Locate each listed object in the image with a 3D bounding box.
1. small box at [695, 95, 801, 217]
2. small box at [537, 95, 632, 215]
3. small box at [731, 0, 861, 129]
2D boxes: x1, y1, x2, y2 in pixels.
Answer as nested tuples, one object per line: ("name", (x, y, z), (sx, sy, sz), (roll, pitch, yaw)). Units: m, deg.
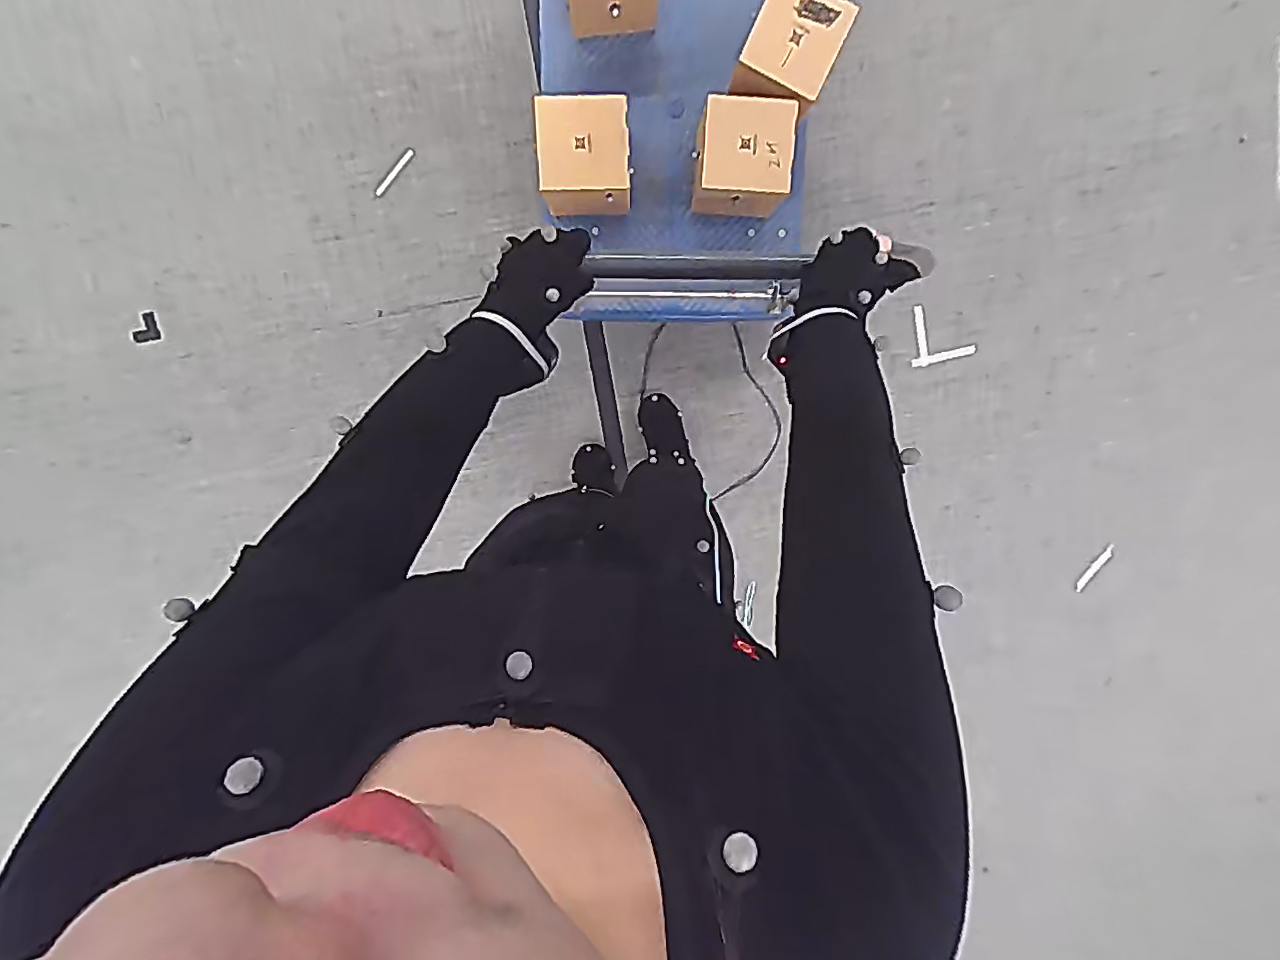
("small box", (0.211, -0.651, 1.106), (0.179, 0.176, 0.168), (3, 101, -2))
("small box", (-0.107, -0.651, 1.101), (0.179, 0.176, 0.168), (-2, 101, -2))
("small box", (0.296, -0.835, 1.073), (0.168, 0.176, 0.179), (25, 100, -5))
